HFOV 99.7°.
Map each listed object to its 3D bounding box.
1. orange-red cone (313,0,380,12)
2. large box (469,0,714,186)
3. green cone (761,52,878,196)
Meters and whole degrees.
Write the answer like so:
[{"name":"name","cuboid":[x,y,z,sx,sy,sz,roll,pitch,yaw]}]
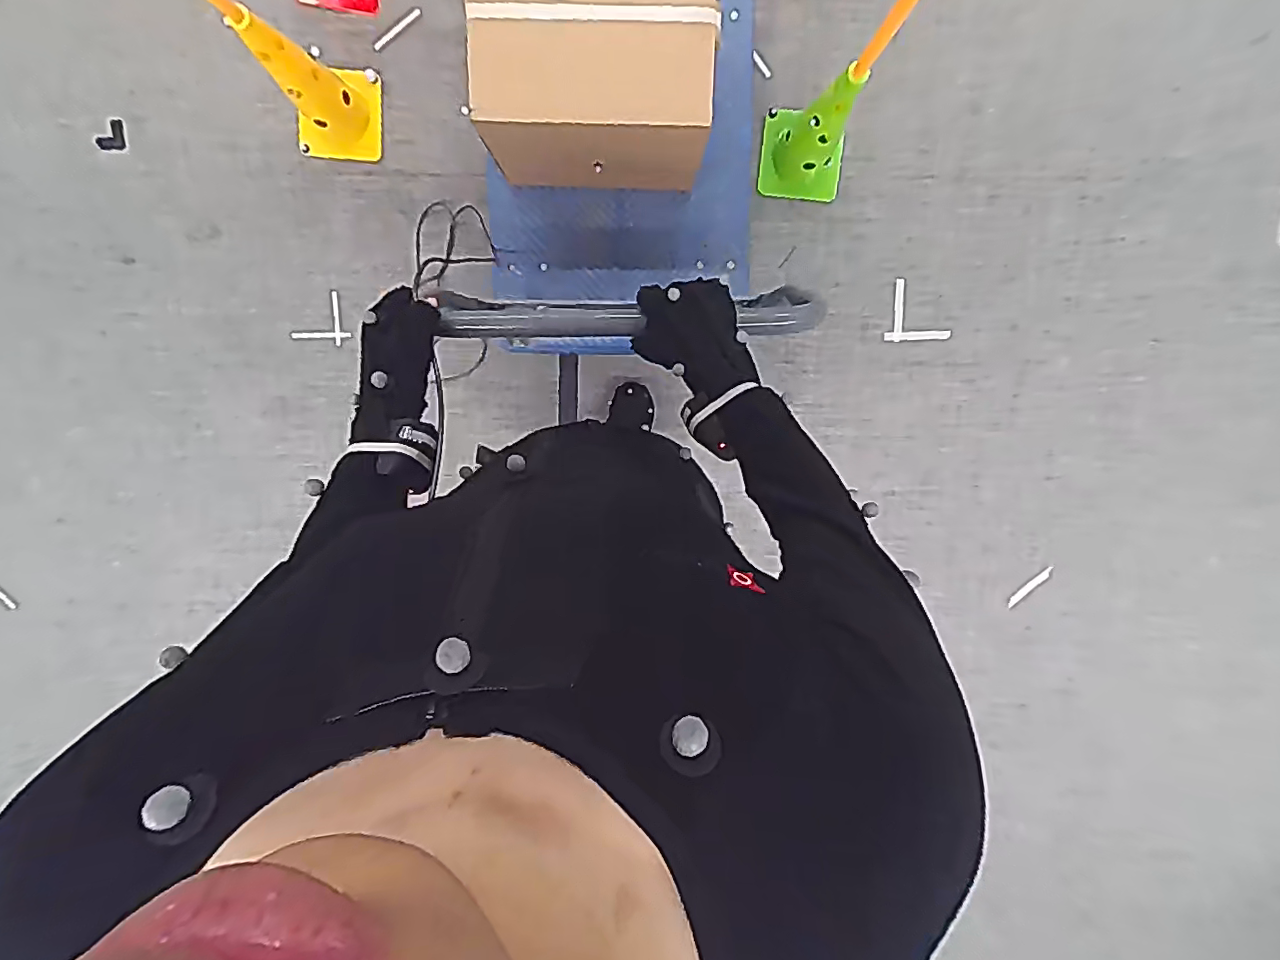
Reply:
[{"name":"orange-red cone","cuboid":[-0.697,-1.194,1.097,0.198,0.360,0.199,8,98,-2]},{"name":"large box","cuboid":[-0.076,-0.770,1.024,0.408,0.320,0.320,1,100,0]},{"name":"green cone","cuboid":[0.408,-0.788,1.166,0.202,0.368,0.200,4,99,-2]}]
